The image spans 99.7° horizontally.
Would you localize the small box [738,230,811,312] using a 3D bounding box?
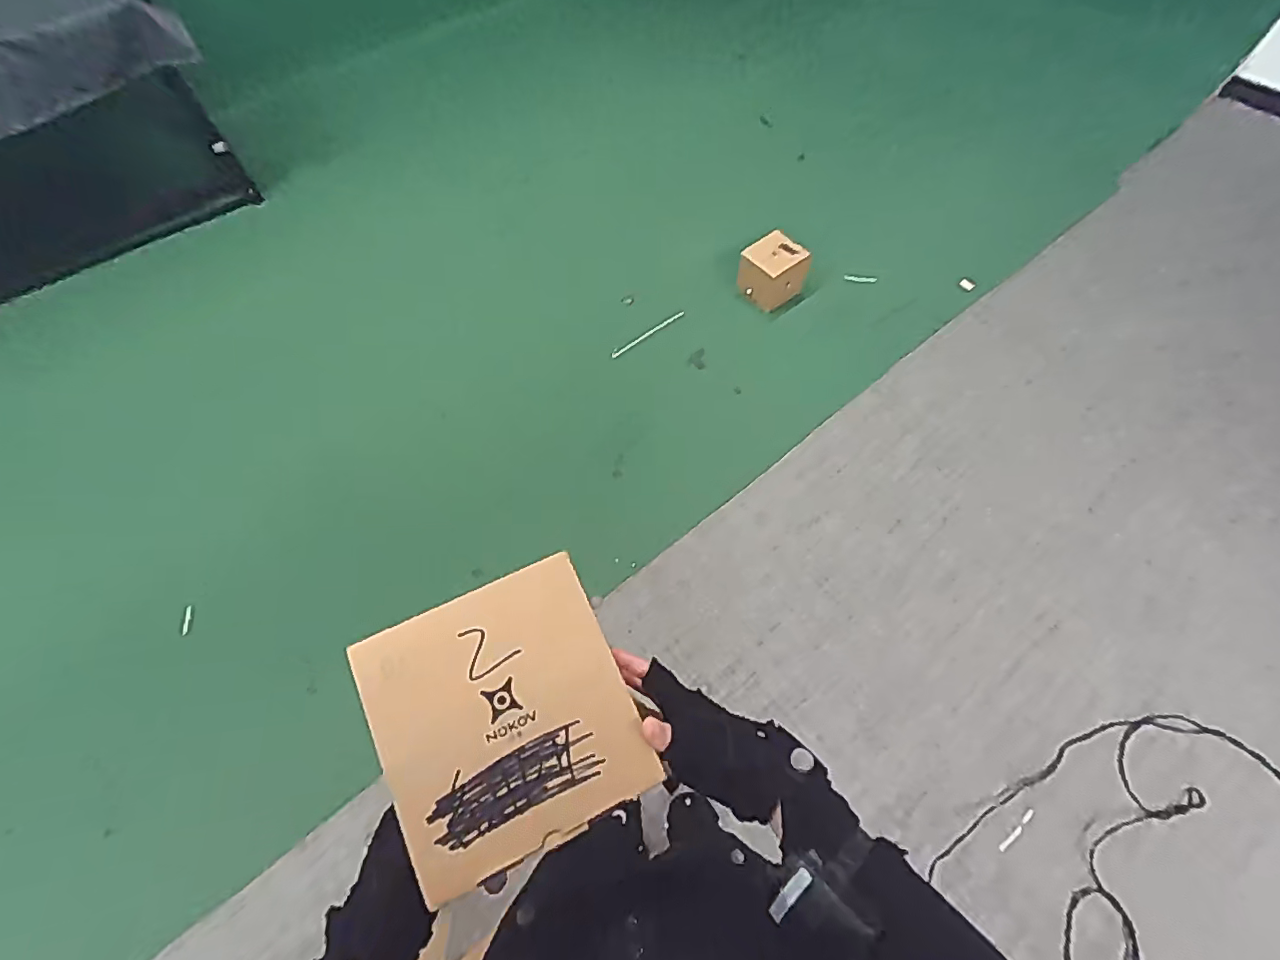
[{"bbox_3d":[0.463,-0.728,1.893,0.179,0.176,0.168,-36,66,-14],"label":"small box"}]
